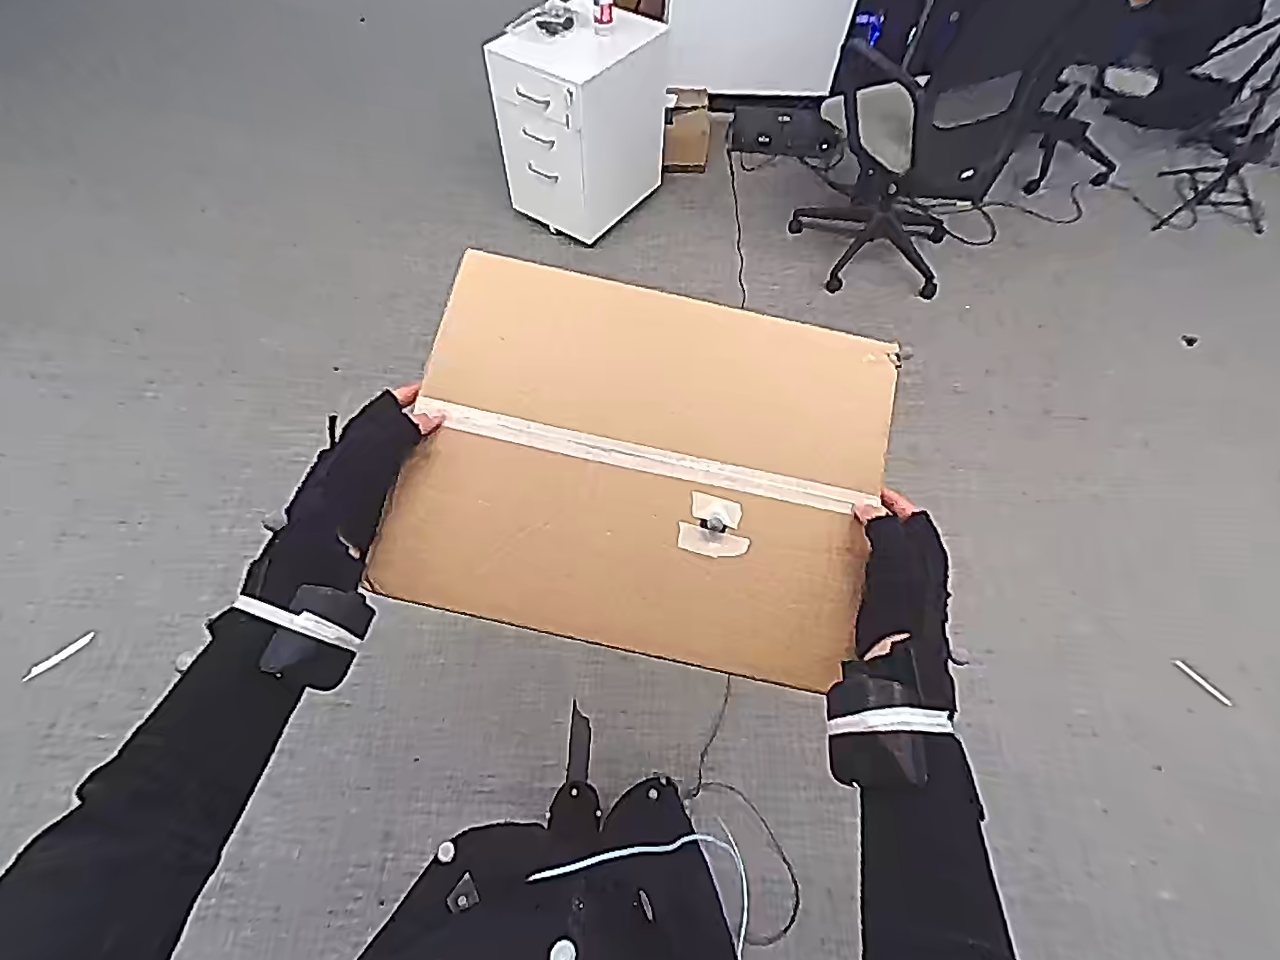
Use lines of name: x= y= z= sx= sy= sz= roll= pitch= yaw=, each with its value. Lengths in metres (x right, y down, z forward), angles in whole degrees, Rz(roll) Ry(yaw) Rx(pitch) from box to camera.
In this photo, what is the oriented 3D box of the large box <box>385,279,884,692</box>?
large box: x=0.000 y=0.023 z=0.626 sx=0.408 sy=0.320 sz=0.320 roll=13 pitch=79 yaw=0
